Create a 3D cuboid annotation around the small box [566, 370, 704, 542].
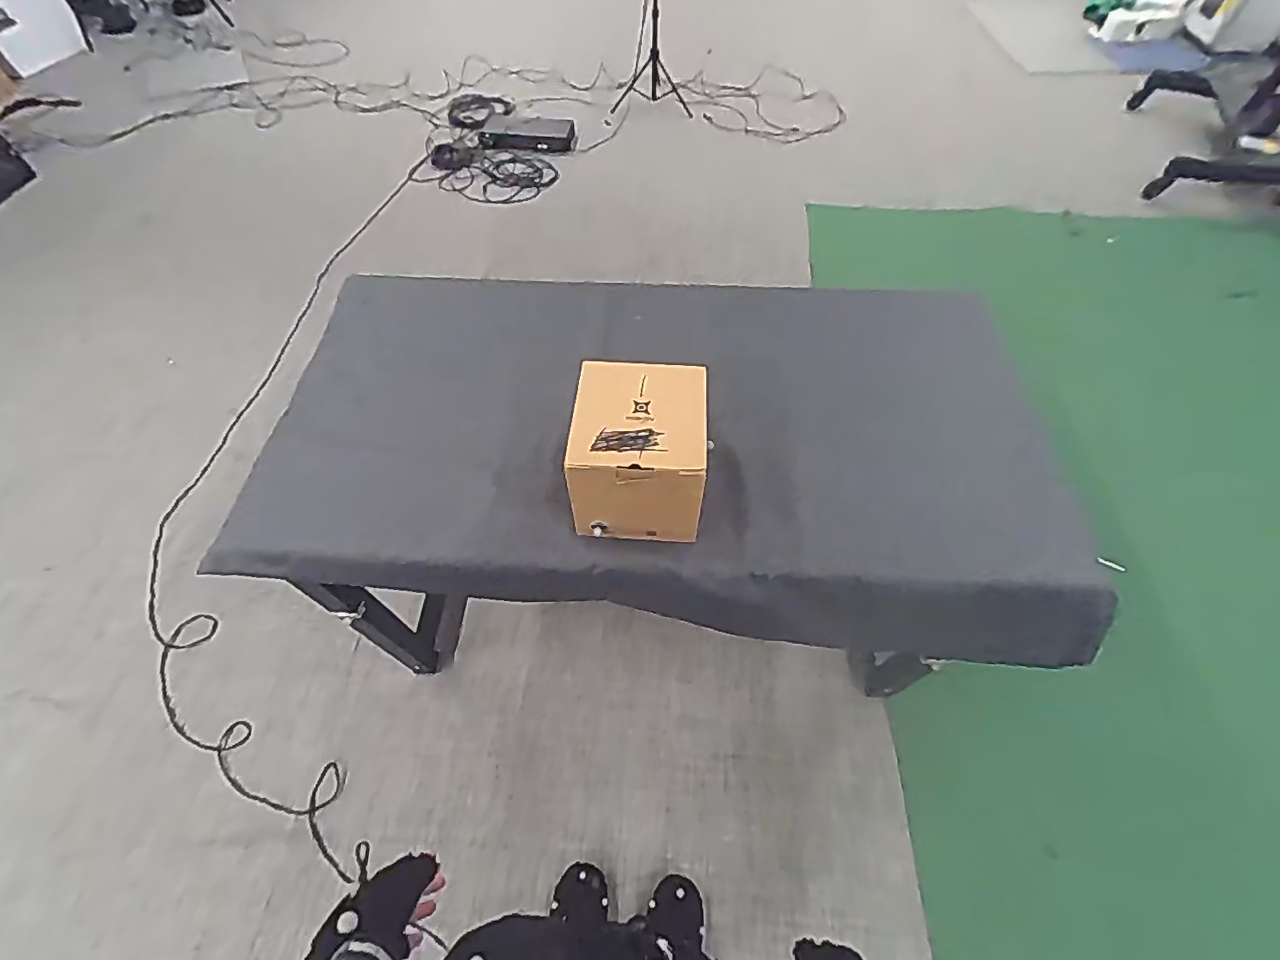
[{"bbox_3d":[0.000,-0.029,0.751,0.168,0.176,0.179,3,54,2],"label":"small box"}]
